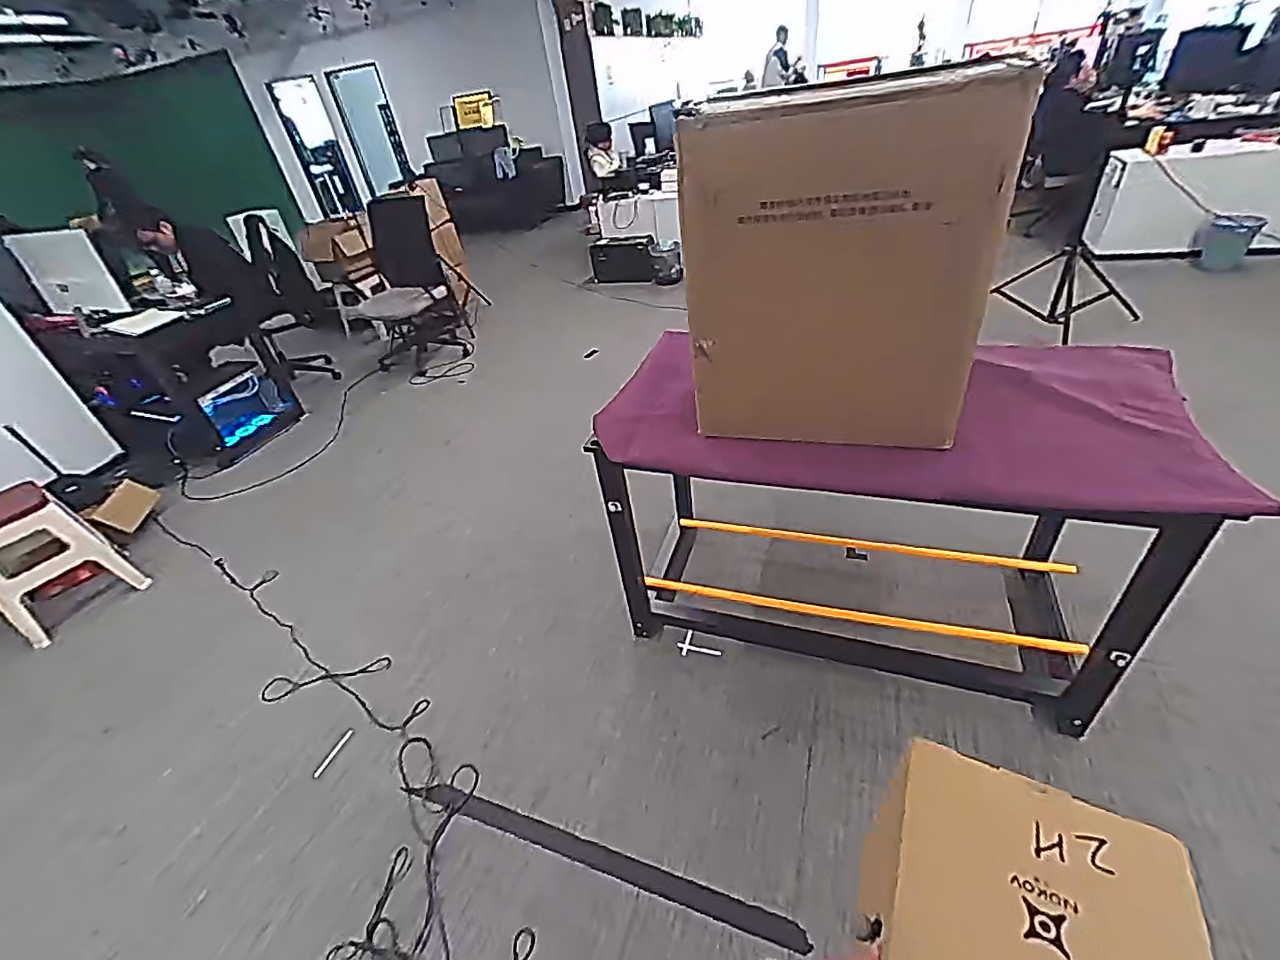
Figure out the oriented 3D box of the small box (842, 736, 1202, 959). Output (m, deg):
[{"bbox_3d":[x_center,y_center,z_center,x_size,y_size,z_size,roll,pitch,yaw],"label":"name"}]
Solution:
[{"bbox_3d":[0.247,0.331,0.379,0.168,0.176,0.179,16,39,22],"label":"small box"}]
